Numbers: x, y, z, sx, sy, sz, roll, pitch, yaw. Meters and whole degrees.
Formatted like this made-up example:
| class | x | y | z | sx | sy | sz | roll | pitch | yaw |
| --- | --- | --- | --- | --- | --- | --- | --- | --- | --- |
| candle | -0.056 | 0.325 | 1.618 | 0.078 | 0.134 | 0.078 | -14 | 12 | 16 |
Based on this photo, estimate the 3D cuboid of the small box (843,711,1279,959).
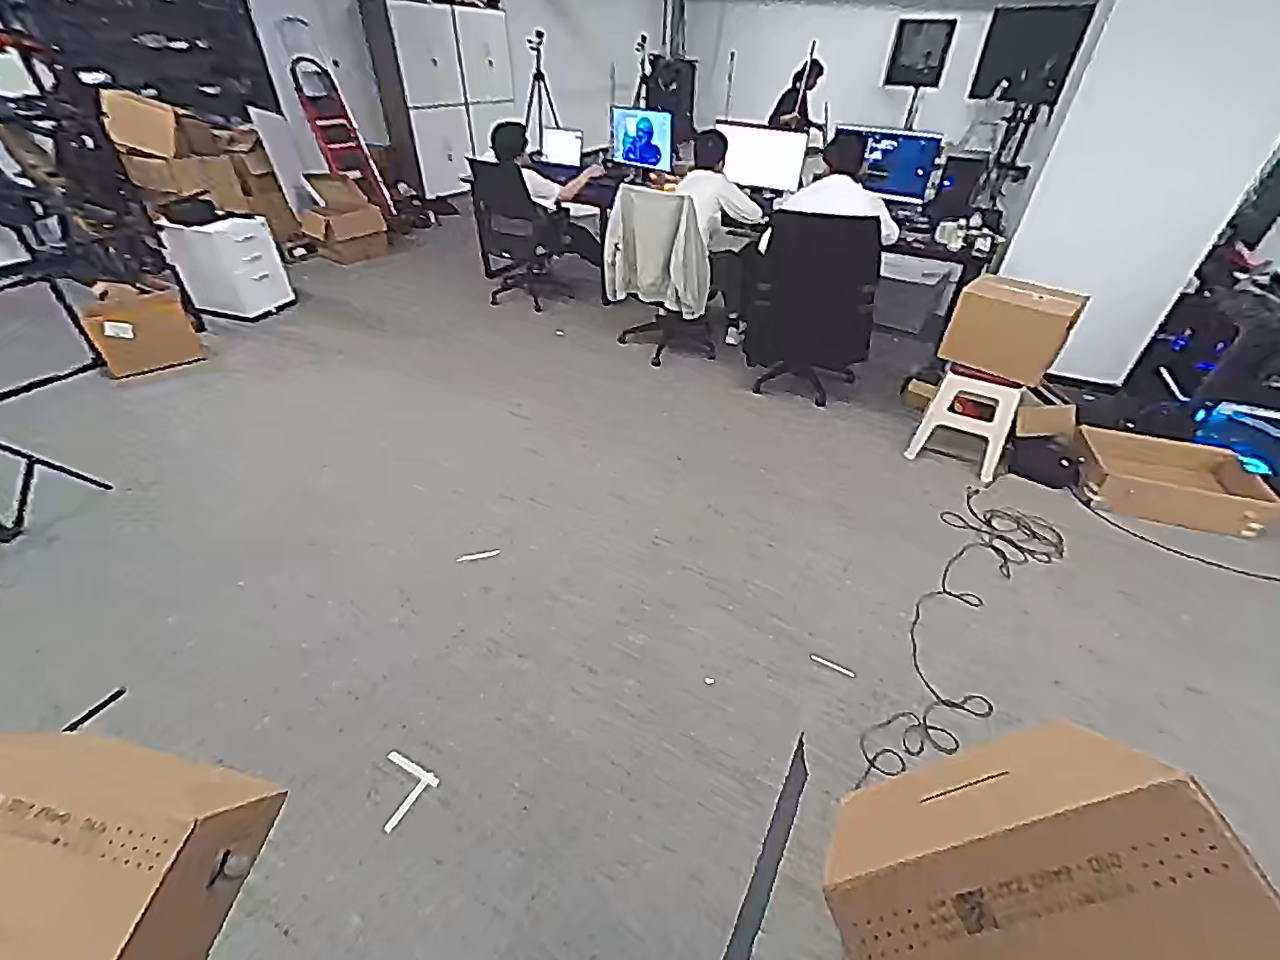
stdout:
| class | x | y | z | sx | sy | sz | roll | pitch | yaw |
| --- | --- | --- | --- | --- | --- | --- | --- | --- | --- |
| small box | 0.221 | 0.237 | 0.280 | 0.168 | 0.179 | 0.176 | -27 | 66 | 14 |

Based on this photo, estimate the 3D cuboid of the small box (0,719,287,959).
| class | x | y | z | sx | sy | sz | roll | pitch | yaw |
| --- | --- | --- | --- | --- | --- | --- | --- | --- | --- |
| small box | -0.367 | 0.257 | 0.335 | 0.168 | 0.179 | 0.176 | 21 | 62 | -6 |
